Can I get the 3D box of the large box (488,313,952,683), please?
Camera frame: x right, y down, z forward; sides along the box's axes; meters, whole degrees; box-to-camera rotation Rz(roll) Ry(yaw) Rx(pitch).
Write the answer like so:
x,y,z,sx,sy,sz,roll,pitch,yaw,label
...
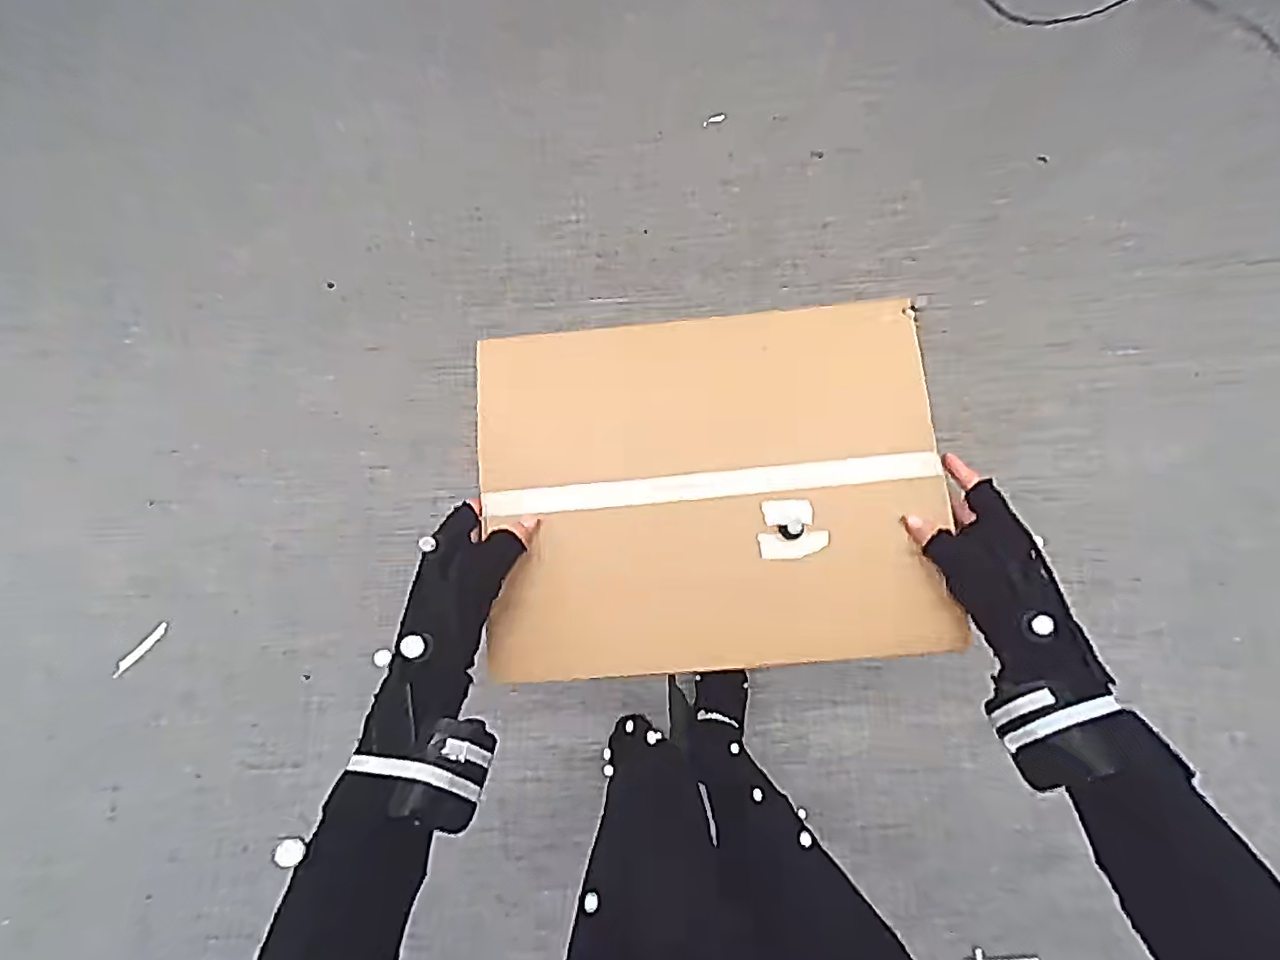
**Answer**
x,y,z,sx,sy,sz,roll,pitch,yaw,label
0.066,0.035,0.646,0.408,0.320,0.320,-6,81,1,large box
